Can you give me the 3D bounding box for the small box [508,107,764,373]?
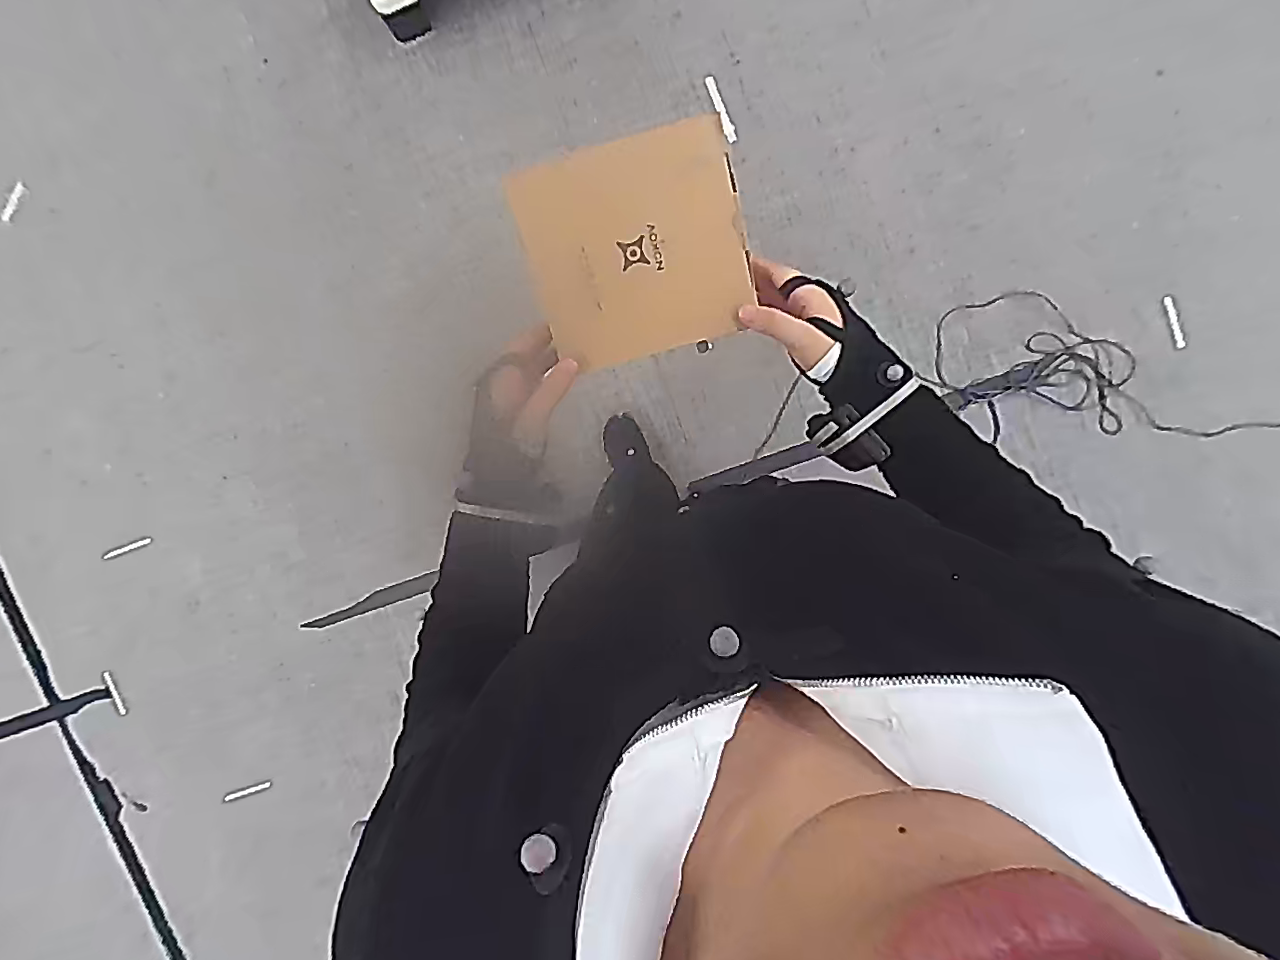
[{"bbox_3d":[-0.002,-0.209,0.512,0.179,0.176,0.168,-16,105,4],"label":"small box"}]
